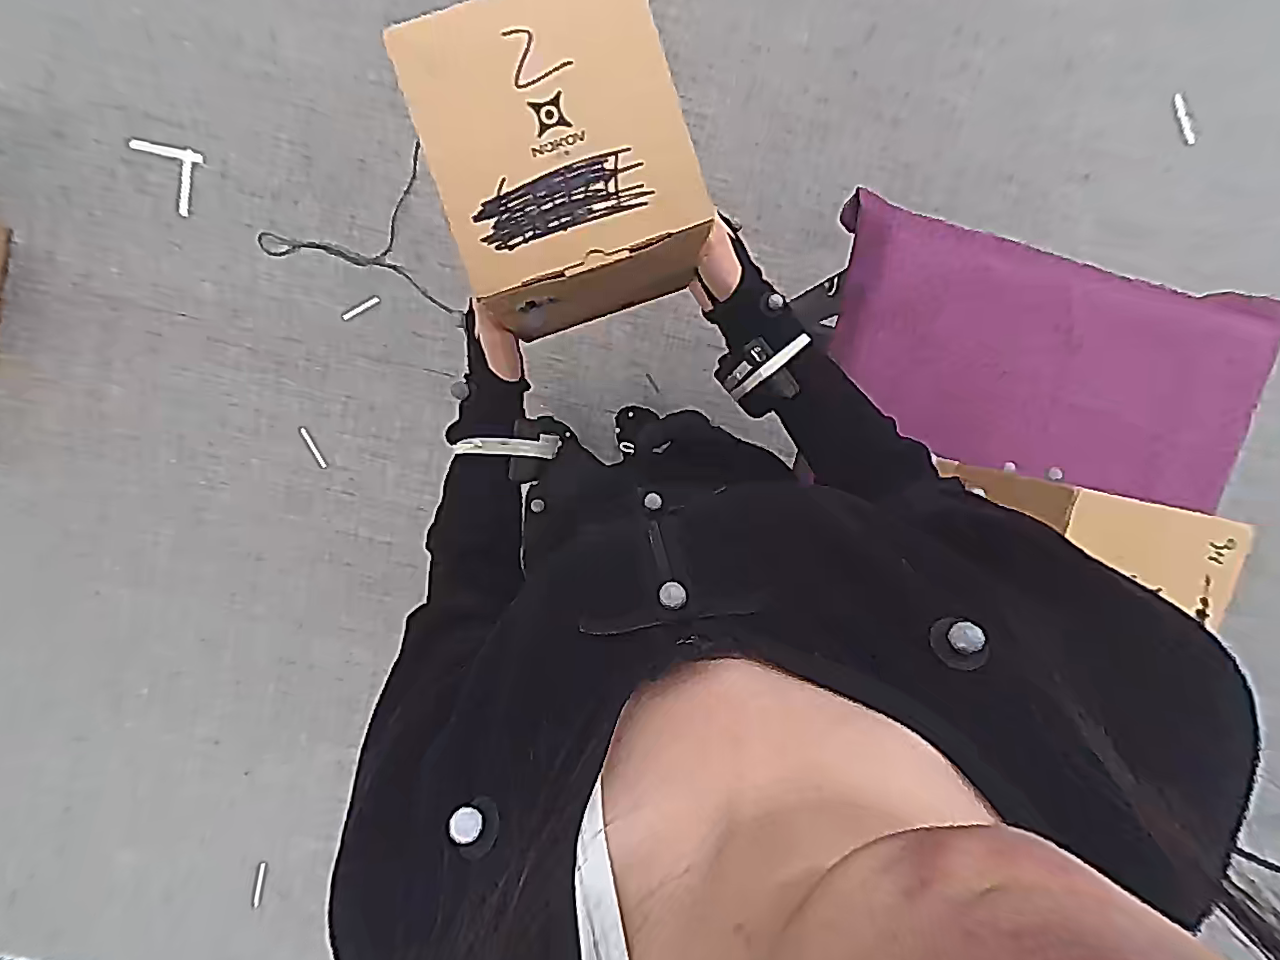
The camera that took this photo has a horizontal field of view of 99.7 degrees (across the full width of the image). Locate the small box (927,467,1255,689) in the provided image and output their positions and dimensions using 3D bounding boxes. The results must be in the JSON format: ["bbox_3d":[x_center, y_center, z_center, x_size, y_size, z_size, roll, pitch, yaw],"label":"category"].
[{"bbox_3d":[0.437,0.086,0.559,0.179,0.176,0.168,11,98,-5],"label":"small box"}]
